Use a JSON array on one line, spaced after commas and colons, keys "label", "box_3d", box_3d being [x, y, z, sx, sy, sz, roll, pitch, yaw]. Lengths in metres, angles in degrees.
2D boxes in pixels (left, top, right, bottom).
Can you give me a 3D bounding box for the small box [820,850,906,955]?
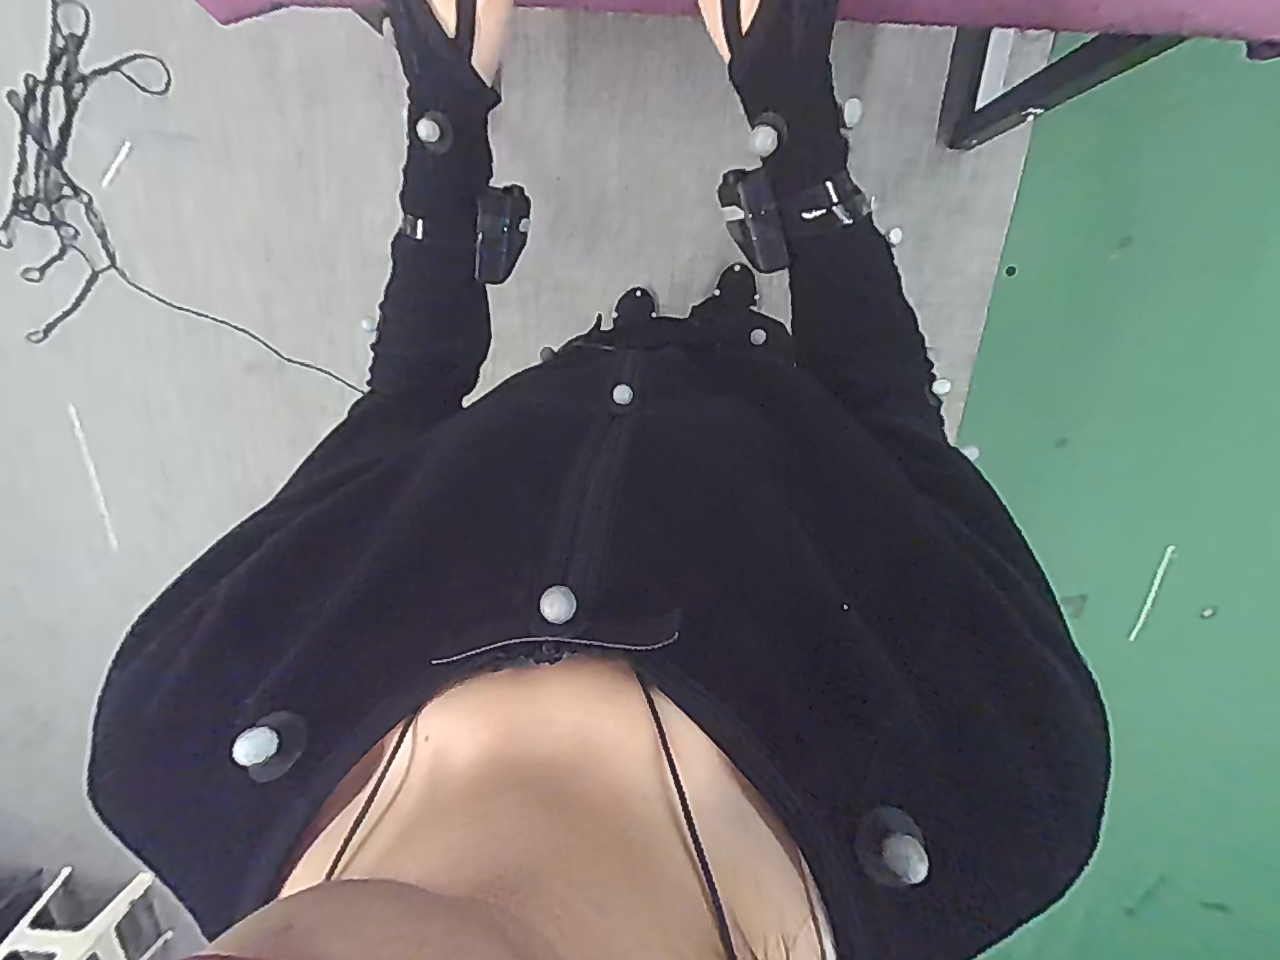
[{"label": "small box", "box_3d": [0.603, 1.145, 1.473, 0.179, 0.176, 0.168, -7, 106, 7]}]
